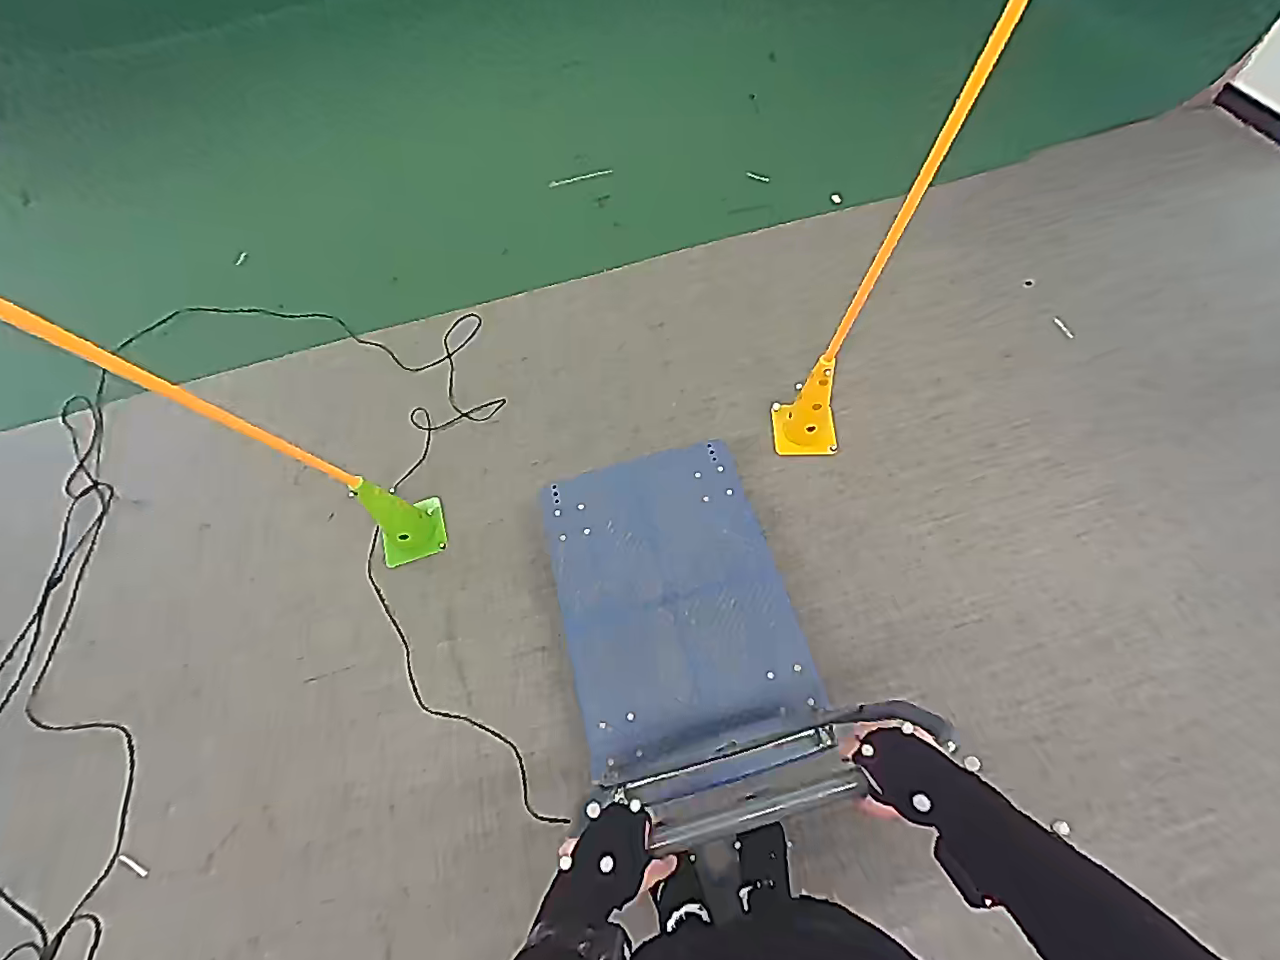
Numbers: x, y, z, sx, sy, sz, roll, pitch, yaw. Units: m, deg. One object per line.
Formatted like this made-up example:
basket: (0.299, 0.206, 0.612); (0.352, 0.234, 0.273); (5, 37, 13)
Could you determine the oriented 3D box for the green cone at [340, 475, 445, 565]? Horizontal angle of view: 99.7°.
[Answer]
green cone: (-0.755, 0.080, 1.591); (0.202, 0.368, 0.200); (-20, 62, -4)
